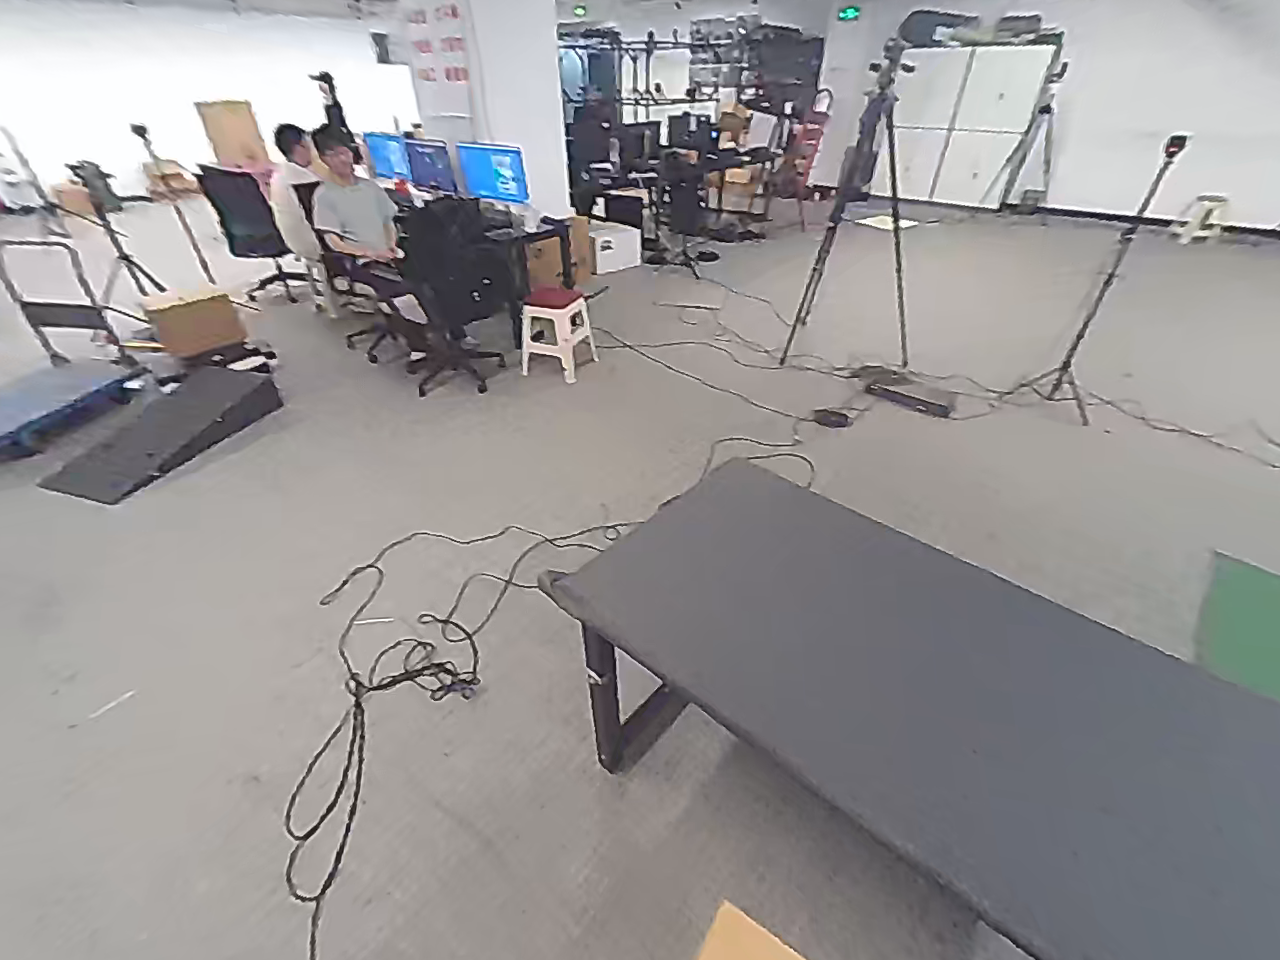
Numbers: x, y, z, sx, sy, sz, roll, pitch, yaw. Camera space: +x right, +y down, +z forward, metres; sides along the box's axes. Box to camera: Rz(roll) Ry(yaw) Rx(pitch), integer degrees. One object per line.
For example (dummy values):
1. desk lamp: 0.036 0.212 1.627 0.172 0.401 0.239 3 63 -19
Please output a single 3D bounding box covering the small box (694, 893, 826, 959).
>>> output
1. small box: 0.082 0.440 0.357 0.168 0.176 0.179 24 38 23
